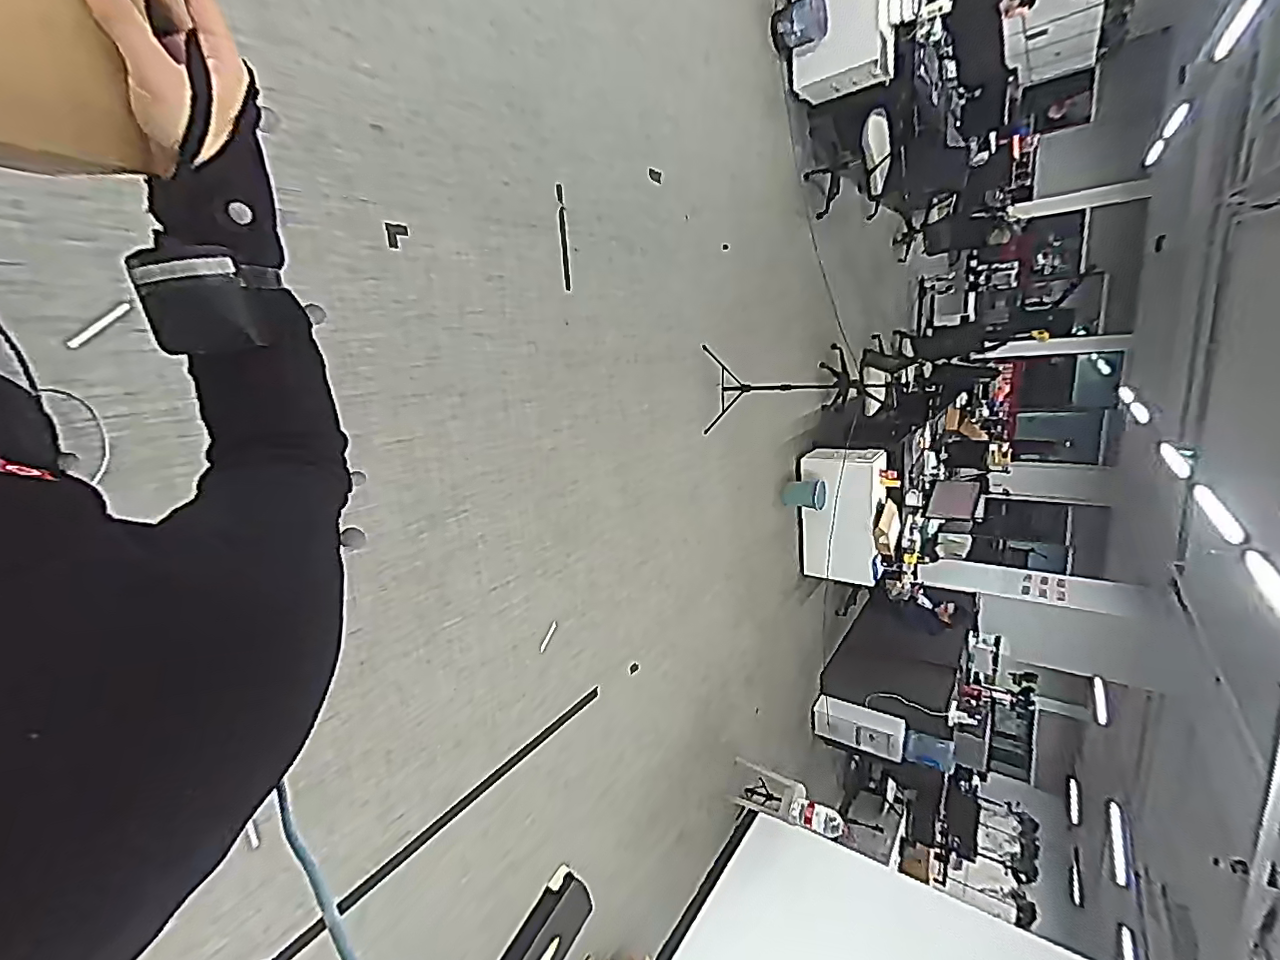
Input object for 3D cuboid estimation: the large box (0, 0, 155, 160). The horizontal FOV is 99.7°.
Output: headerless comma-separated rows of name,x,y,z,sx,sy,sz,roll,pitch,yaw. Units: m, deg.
large box,-0.511,-0.351,0.206,0.408,0.320,0.320,-15,121,-53
